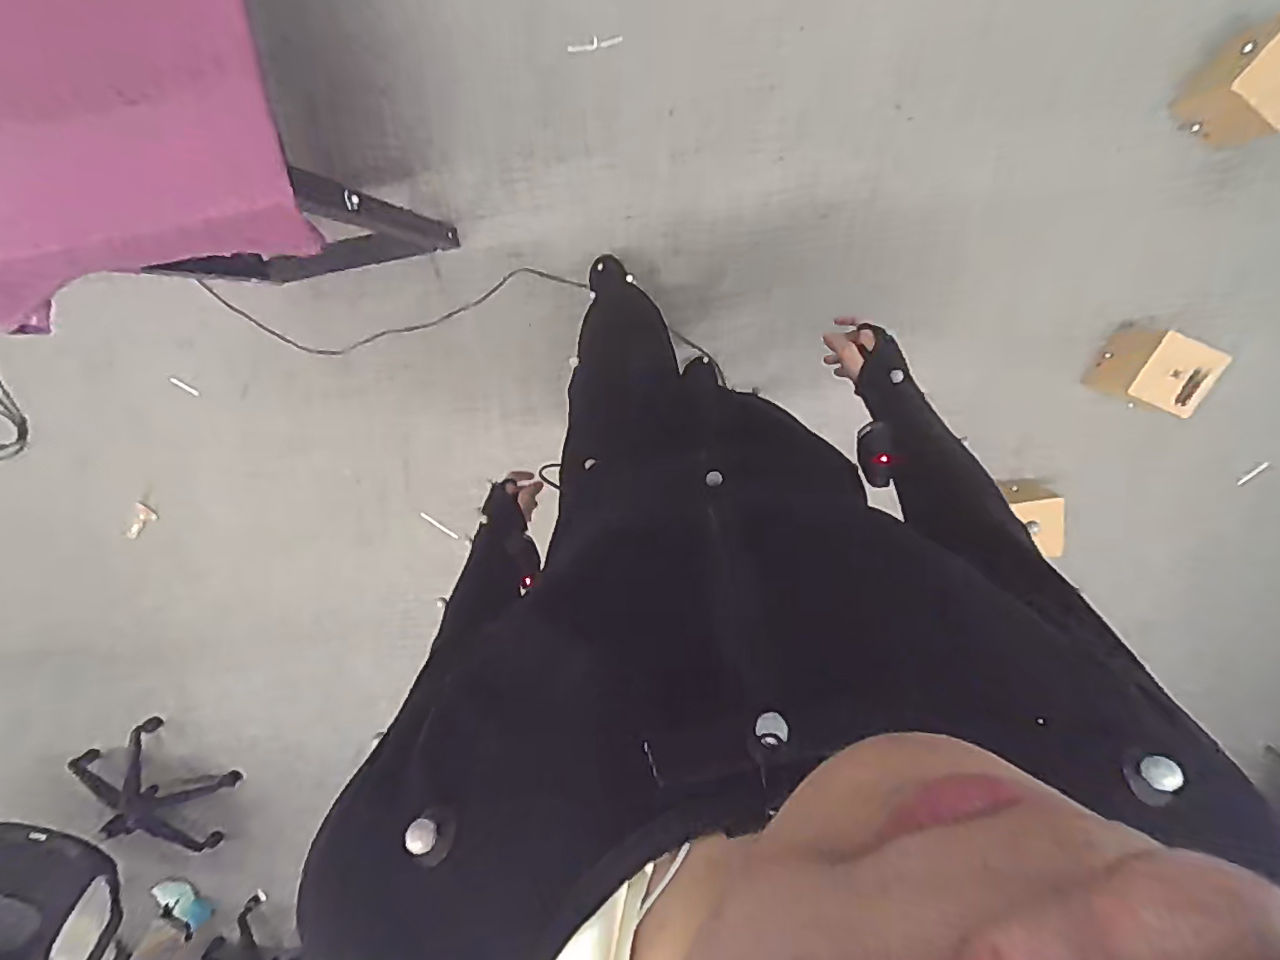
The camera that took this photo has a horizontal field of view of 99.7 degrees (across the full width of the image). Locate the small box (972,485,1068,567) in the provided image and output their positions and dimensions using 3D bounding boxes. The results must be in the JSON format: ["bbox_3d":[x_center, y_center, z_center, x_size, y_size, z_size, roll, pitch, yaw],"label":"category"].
[{"bbox_3d":[1.061,0.122,1.522,0.168,0.176,0.179,-9,106,8],"label":"small box"}]
